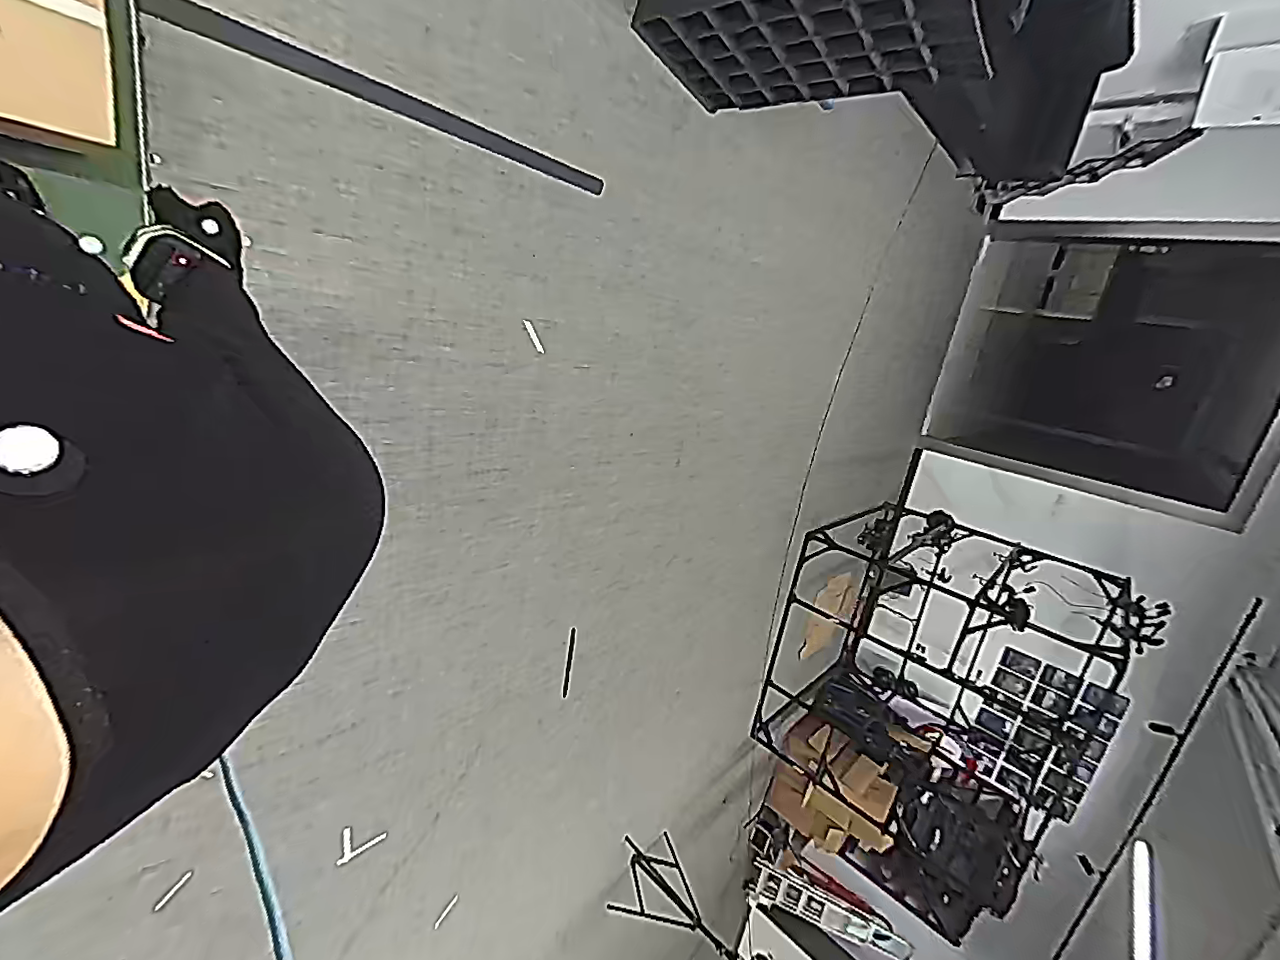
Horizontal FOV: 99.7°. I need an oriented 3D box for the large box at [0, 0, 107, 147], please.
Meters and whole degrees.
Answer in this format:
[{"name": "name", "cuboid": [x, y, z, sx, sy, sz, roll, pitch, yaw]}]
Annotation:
[{"name": "large box", "cuboid": [-1.001, -0.669, 0.691, 0.408, 0.320, 0.320, -10, 116, -49]}]
